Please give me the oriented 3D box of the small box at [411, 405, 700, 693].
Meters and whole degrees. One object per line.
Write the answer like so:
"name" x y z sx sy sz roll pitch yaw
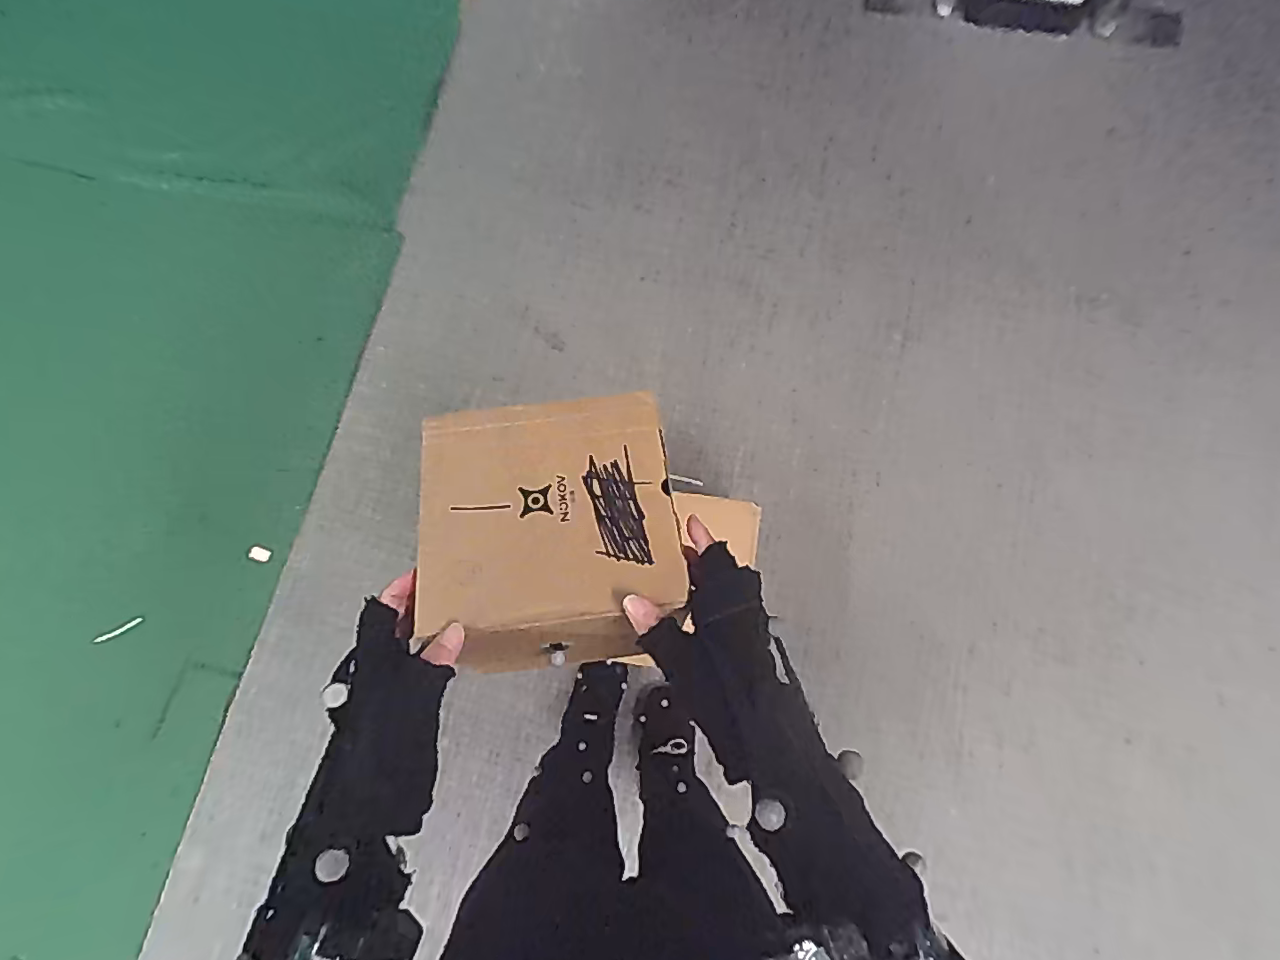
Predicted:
"small box" -0.067 0.063 0.431 0.179 0.176 0.168 -9 64 -8
